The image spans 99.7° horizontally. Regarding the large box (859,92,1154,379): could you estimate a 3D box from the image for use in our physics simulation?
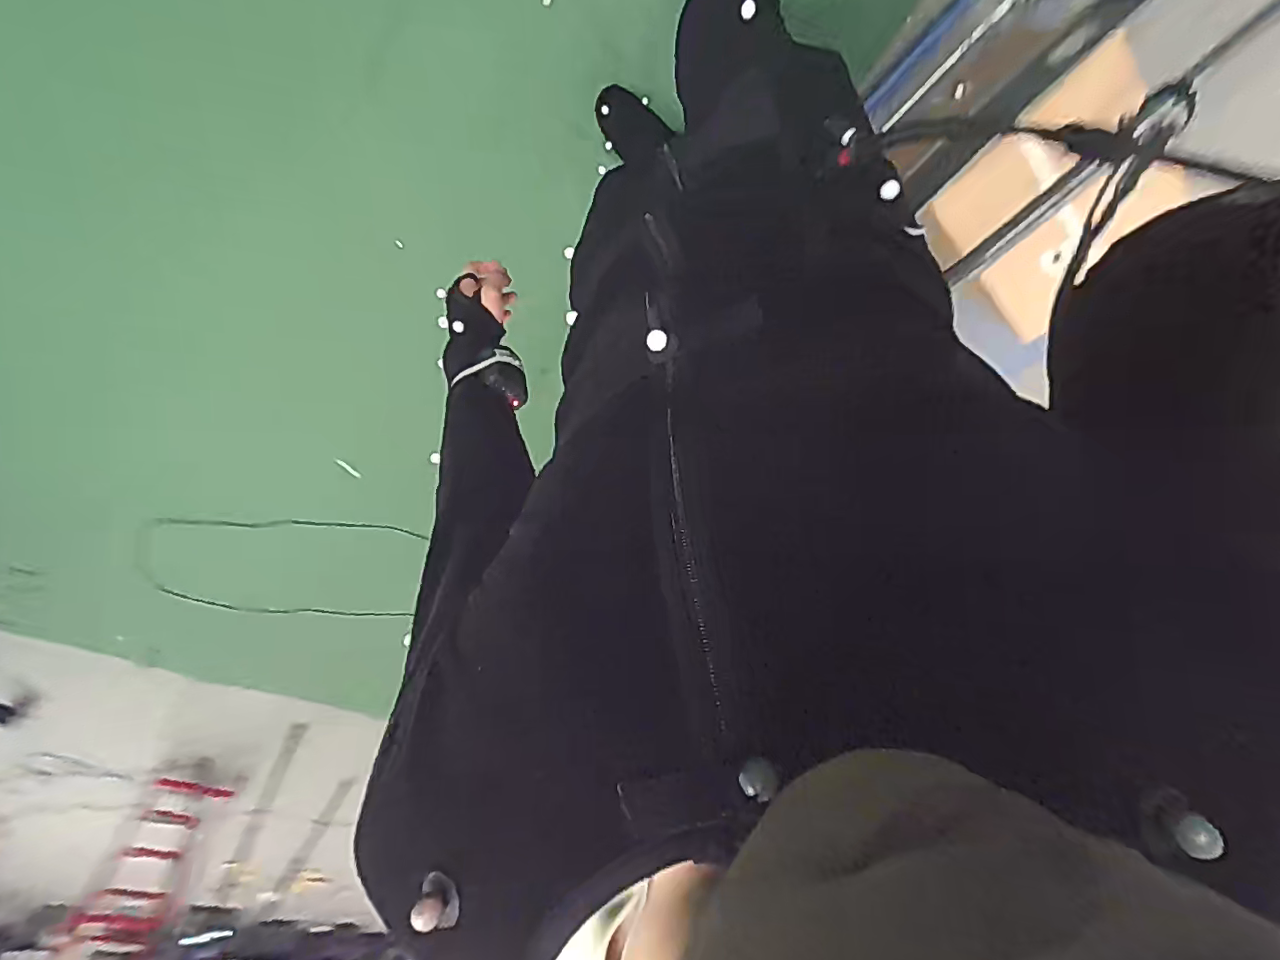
[{"bbox_3d":[0.733,-0.499,1.118,0.320,0.320,0.408,-37,122,24],"label":"large box"}]
